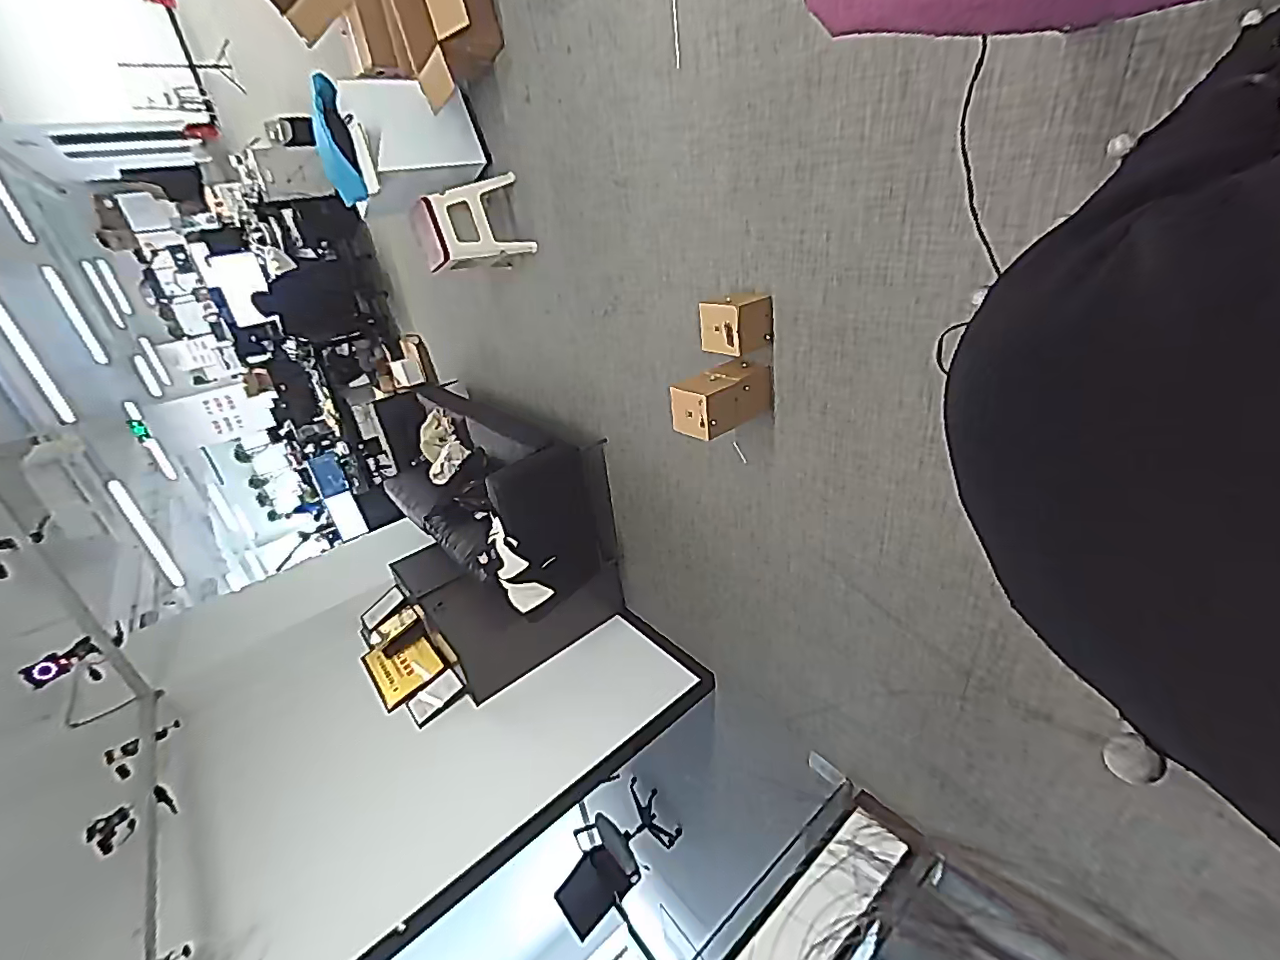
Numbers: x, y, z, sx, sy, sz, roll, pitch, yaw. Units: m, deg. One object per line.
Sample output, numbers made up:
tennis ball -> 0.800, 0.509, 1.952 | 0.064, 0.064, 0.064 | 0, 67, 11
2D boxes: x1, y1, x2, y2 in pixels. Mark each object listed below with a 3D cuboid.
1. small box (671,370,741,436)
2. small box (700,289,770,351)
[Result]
small box -> 0.232, -0.275, 1.879 | 0.179, 0.176, 0.168 | 27, 134, 46
small box -> 0.329, -0.551, 1.844 | 0.179, 0.176, 0.168 | 26, 132, 46
